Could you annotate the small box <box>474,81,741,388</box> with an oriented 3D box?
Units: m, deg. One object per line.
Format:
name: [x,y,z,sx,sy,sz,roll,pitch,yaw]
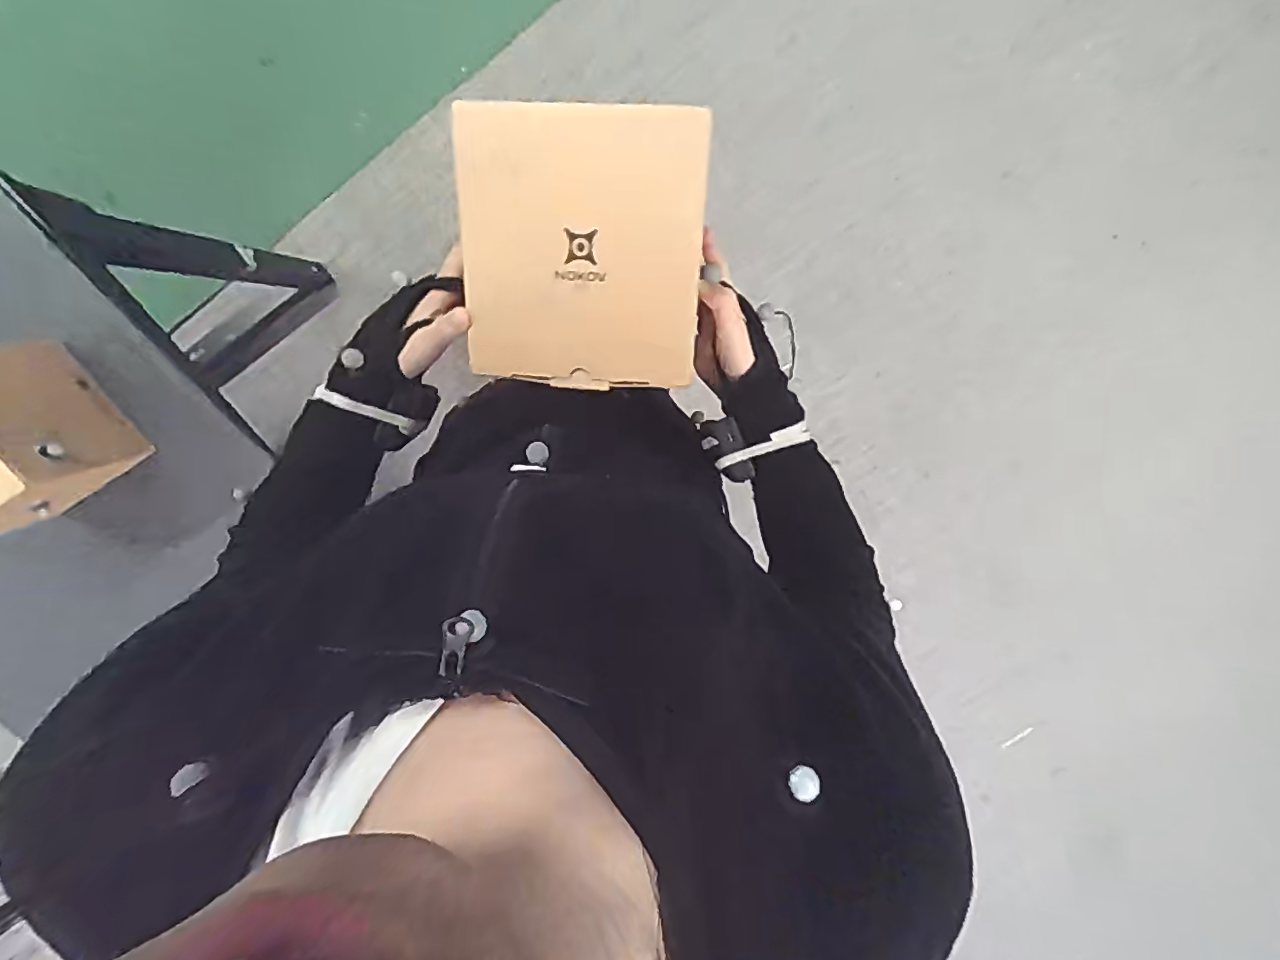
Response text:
small box: [-0.024,-0.182,0.430,0.168,0.176,0.179,5,112,1]
